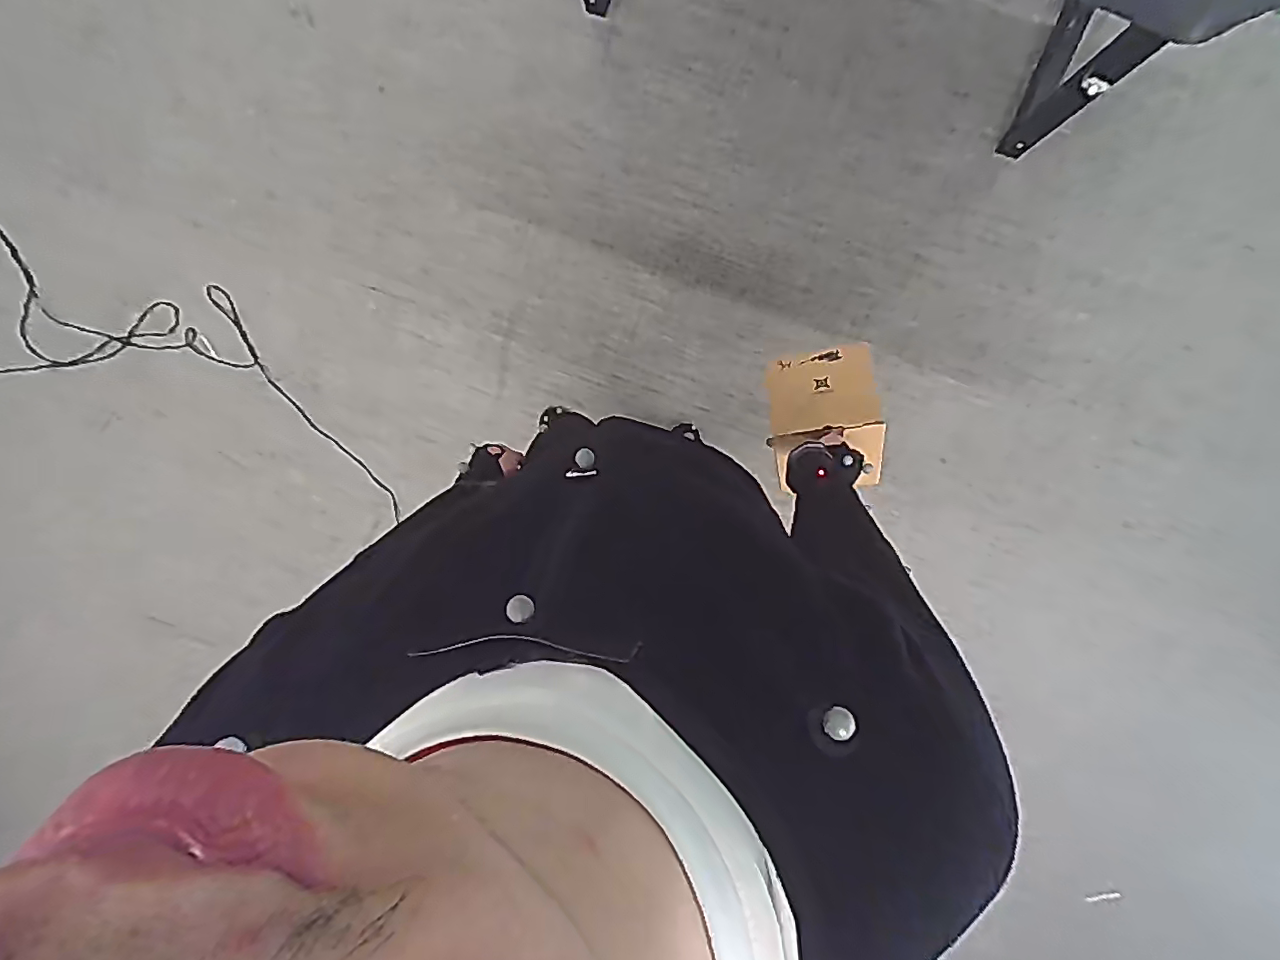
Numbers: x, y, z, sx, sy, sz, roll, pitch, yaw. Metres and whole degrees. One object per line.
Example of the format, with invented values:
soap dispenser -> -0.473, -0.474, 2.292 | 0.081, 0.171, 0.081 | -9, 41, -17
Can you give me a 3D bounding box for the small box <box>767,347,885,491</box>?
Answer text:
small box -> 0.319, -0.095, 0.931 | 0.168, 0.176, 0.179 | -9, 54, 16
